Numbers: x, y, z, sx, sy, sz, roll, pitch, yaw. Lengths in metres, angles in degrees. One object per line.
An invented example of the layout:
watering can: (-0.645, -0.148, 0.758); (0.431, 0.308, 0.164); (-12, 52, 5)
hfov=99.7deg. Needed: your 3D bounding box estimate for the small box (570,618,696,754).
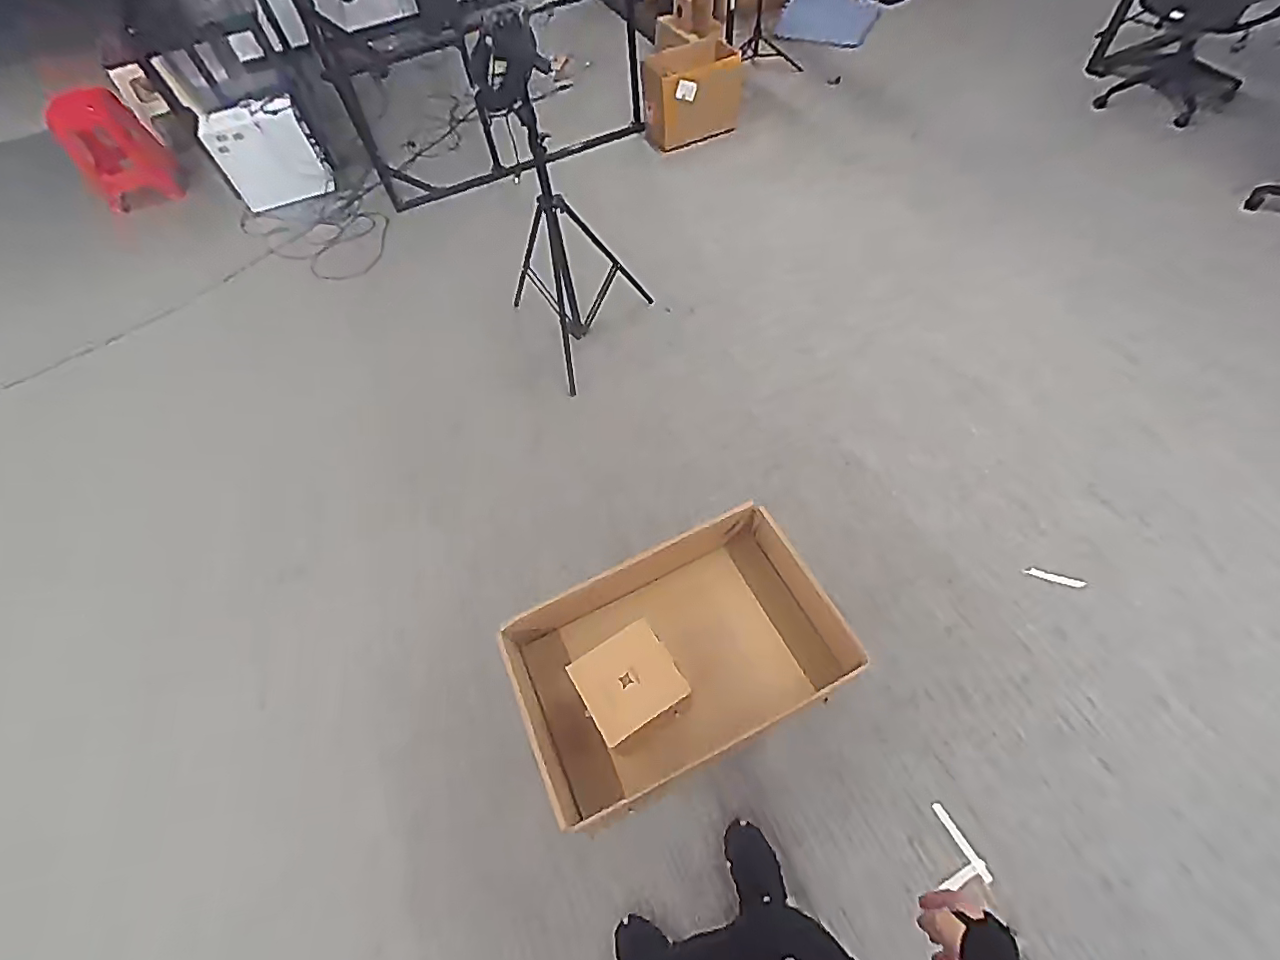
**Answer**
small box: (-0.010, 0.402, 1.045); (0.179, 0.176, 0.168); (-31, 60, -12)
